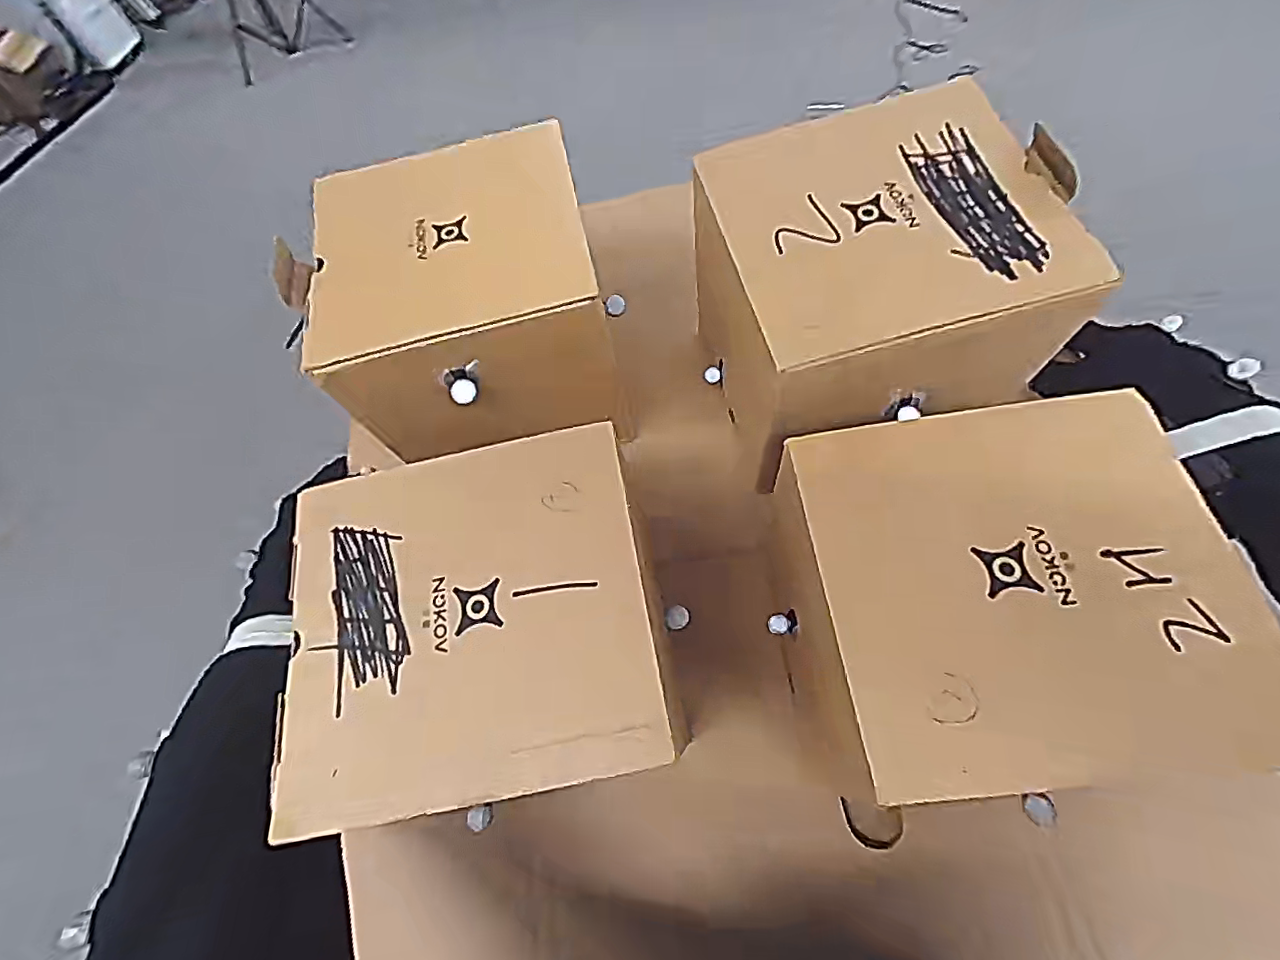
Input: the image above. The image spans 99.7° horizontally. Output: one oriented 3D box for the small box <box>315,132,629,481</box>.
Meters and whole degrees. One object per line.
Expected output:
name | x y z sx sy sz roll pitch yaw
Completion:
small box | -0.110 -0.119 0.418 0.179 0.176 0.168 -14 64 3
